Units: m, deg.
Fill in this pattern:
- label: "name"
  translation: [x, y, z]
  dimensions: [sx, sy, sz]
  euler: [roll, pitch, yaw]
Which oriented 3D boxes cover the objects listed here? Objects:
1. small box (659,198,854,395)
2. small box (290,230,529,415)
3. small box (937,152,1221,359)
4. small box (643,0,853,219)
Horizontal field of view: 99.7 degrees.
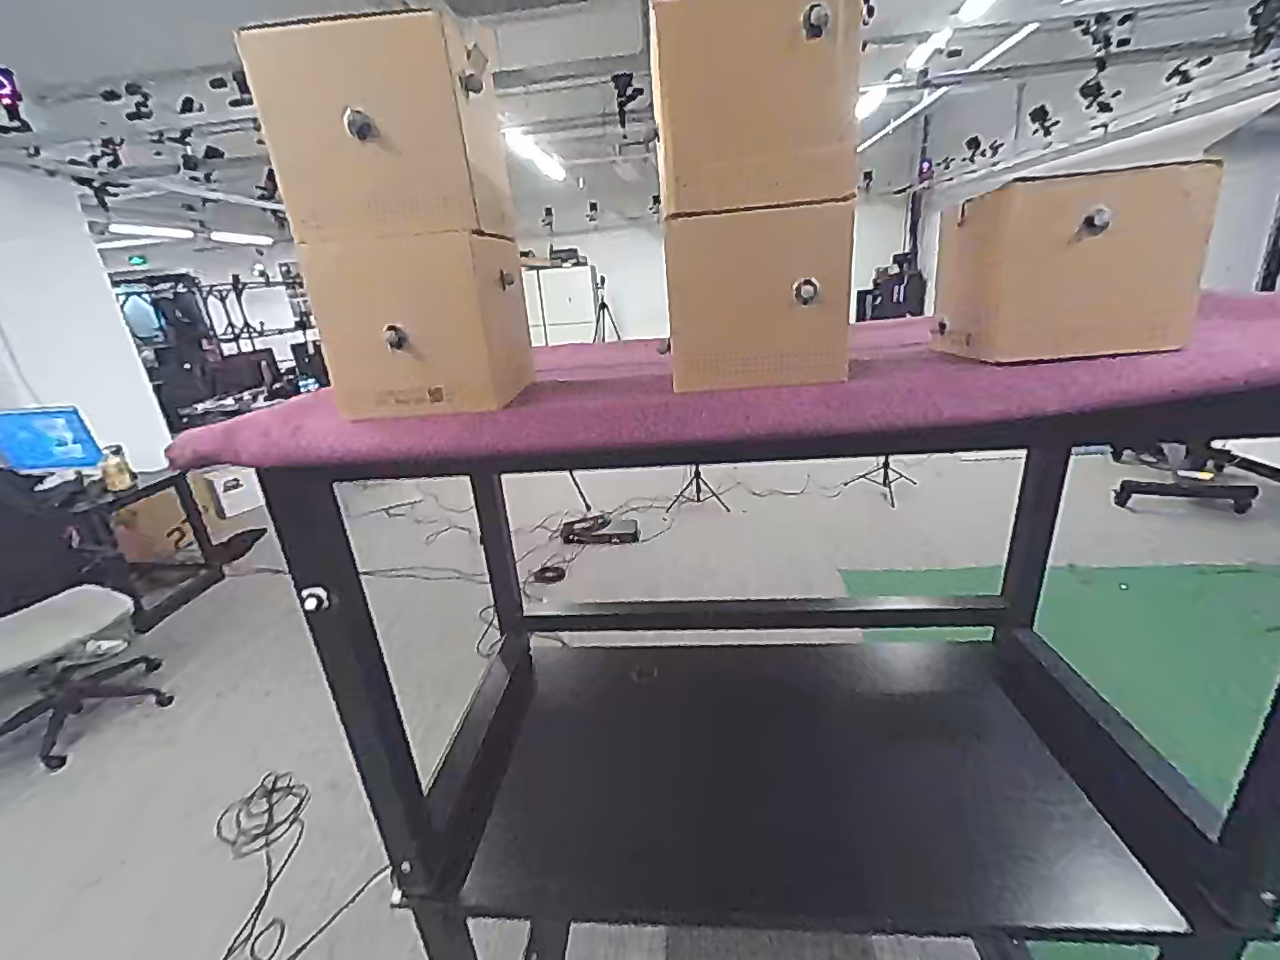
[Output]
- label: "small box"
  translation: [0.115, -0.194, 0.586]
  dimensions: [0.179, 0.176, 0.168]
  euler: [-5, 20, 5]
- label: "small box"
  translation: [-0.227, -0.169, 0.589]
  dimensions: [0.168, 0.176, 0.179]
  euler: [-3, 21, 3]
- label: "small box"
  translation: [0.437, -0.224, 0.577]
  dimensions: [0.179, 0.176, 0.168]
  euler: [-2, 19, 7]
- label: "small box"
  translation: [0.099, -0.348, 0.533]
  dimensions: [0.179, 0.176, 0.168]
  euler: [-4, 20, 3]
